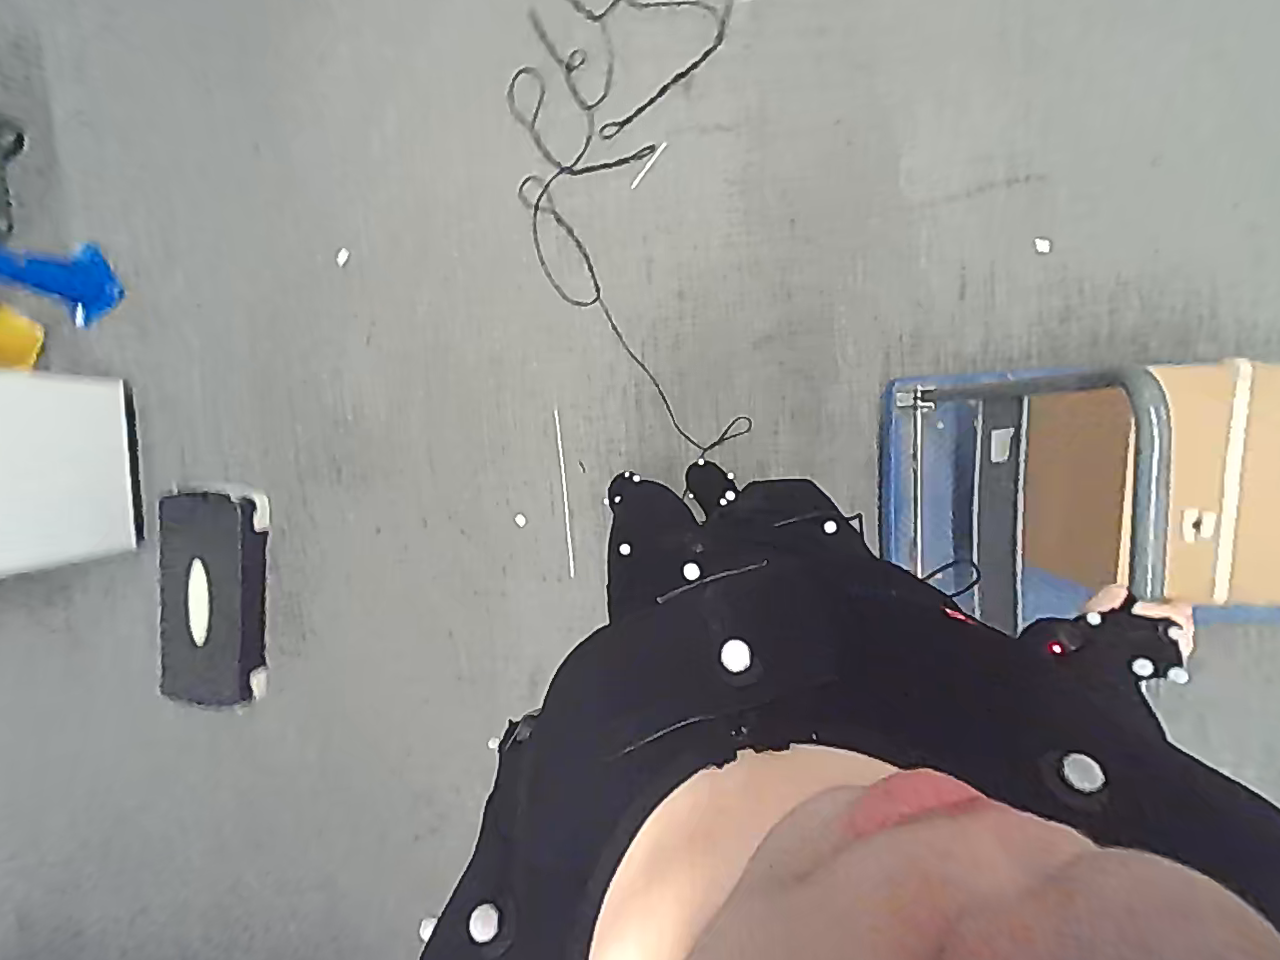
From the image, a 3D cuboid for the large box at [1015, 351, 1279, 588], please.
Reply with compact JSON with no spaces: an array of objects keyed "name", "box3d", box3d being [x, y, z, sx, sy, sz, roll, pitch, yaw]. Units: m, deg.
[{"name":"large box","box3d":[0.989,-0.029,1.064,0.320,0.320,0.408,0,96,8]}]
